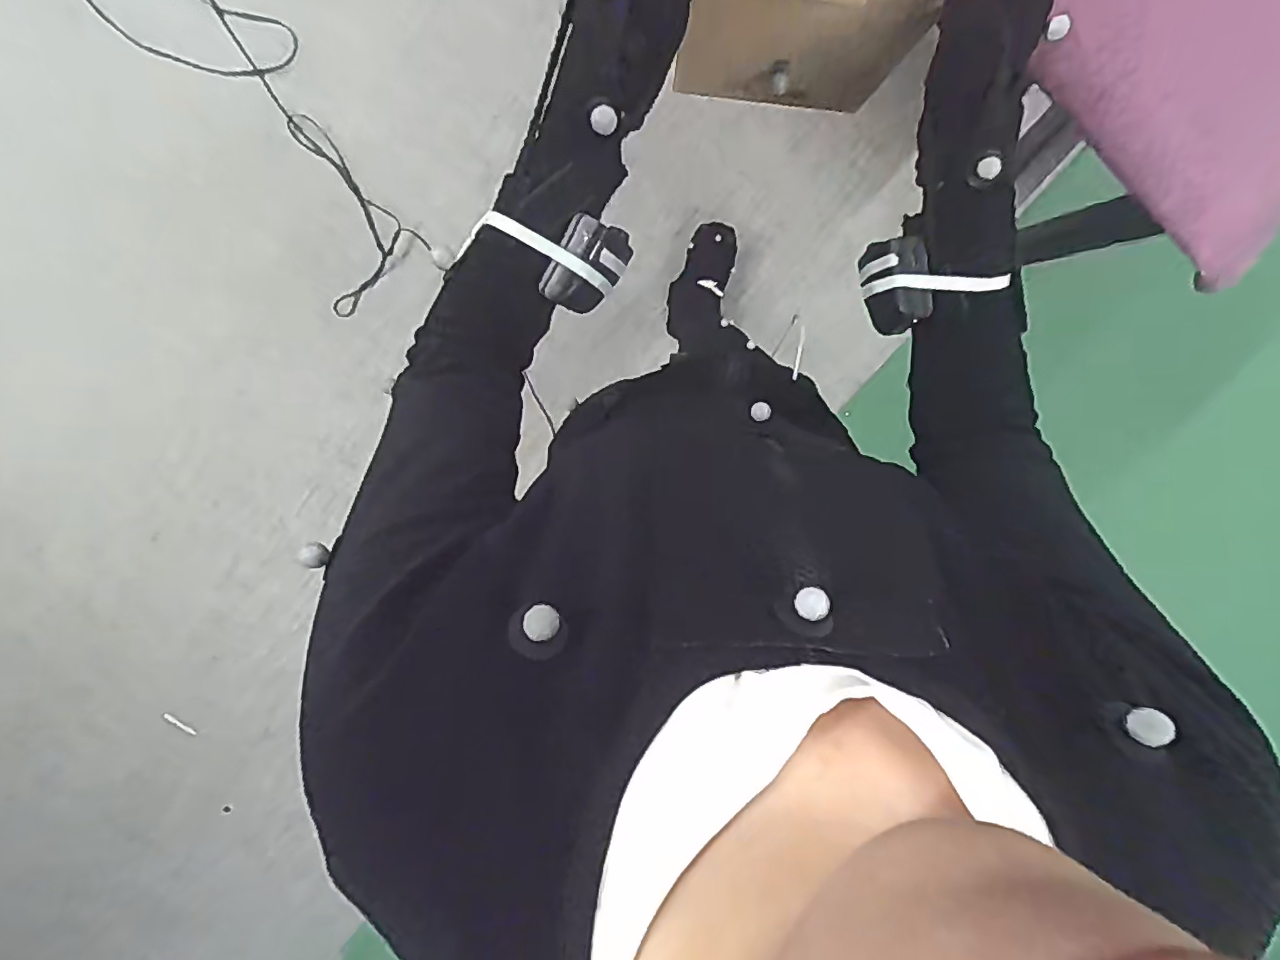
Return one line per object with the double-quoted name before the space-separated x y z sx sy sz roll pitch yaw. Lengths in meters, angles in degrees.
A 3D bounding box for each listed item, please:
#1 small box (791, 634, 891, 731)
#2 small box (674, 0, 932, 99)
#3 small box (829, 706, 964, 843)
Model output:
"small box" 0.555 0.562 1.519 0.179 0.176 0.168 40 102 -9
"small box" 0.117 -0.411 0.377 0.168 0.176 0.179 5 101 -2
"small box" 0.559 0.644 1.202 0.179 0.176 0.168 37 102 -8
